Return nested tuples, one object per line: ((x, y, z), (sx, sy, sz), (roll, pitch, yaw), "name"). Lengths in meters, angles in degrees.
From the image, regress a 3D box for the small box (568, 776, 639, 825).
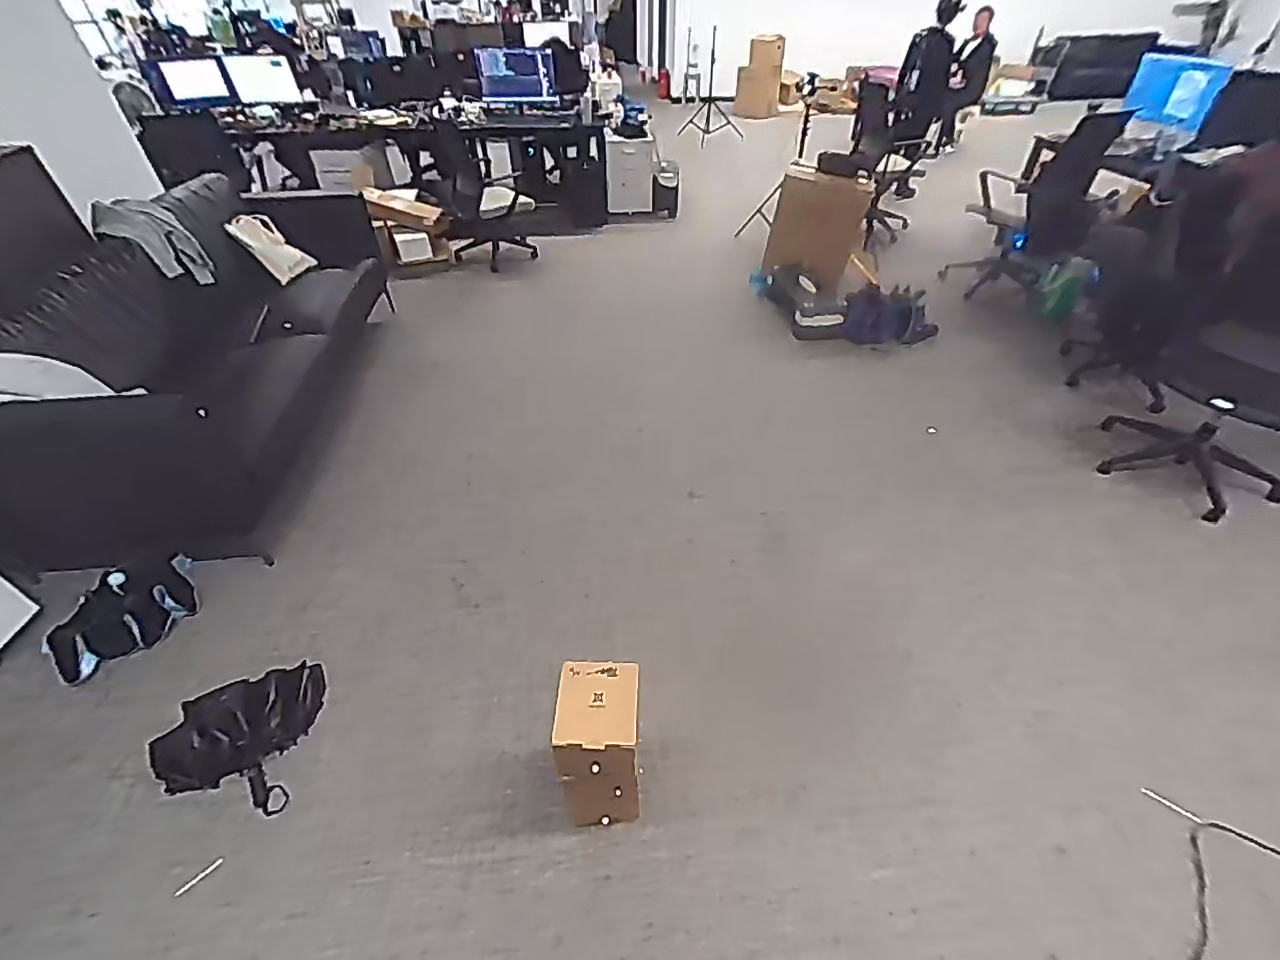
((-0.093, 0.742, 1.364), (0.168, 0.176, 0.179), (-5, 45, -4), "small box")

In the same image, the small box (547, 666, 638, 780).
((-0.090, 0.512, 1.135), (0.168, 0.176, 0.179), (1, 44, 2), "small box")

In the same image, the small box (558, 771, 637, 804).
((-0.096, 0.628, 1.249), (0.168, 0.176, 0.179), (-3, 42, -4), "small box")
